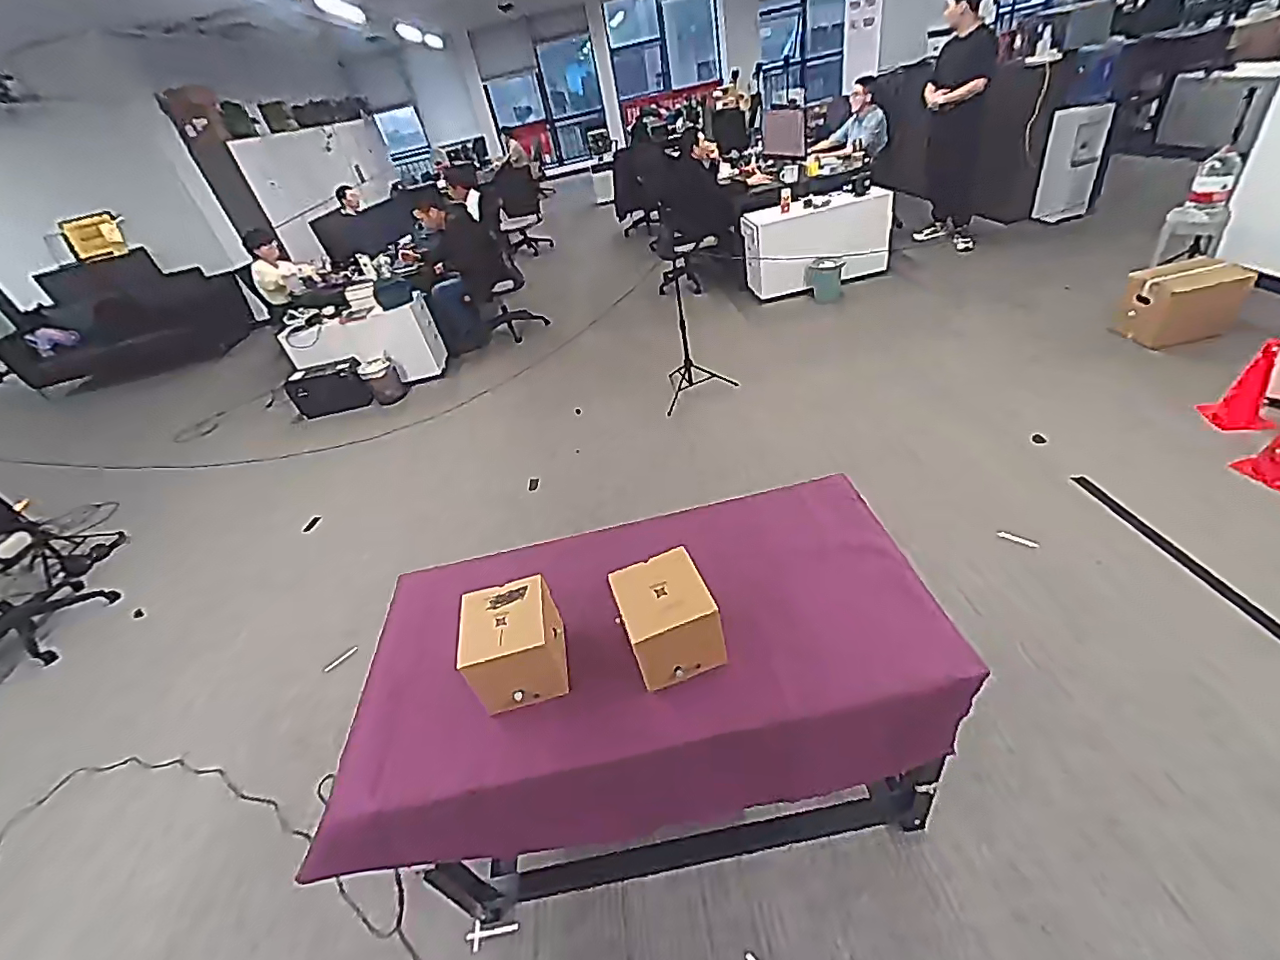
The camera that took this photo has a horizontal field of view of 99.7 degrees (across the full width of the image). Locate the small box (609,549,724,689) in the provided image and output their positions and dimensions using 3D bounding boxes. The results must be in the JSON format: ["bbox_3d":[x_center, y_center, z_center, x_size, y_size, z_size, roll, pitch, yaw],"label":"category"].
[{"bbox_3d":[0.052,0.273,1.065,0.168,0.176,0.179,-20,37,-7],"label":"small box"}]

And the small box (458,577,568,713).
[{"bbox_3d":[-0.249,0.330,1.085,0.168,0.176,0.179,-16,38,-2],"label":"small box"}]
